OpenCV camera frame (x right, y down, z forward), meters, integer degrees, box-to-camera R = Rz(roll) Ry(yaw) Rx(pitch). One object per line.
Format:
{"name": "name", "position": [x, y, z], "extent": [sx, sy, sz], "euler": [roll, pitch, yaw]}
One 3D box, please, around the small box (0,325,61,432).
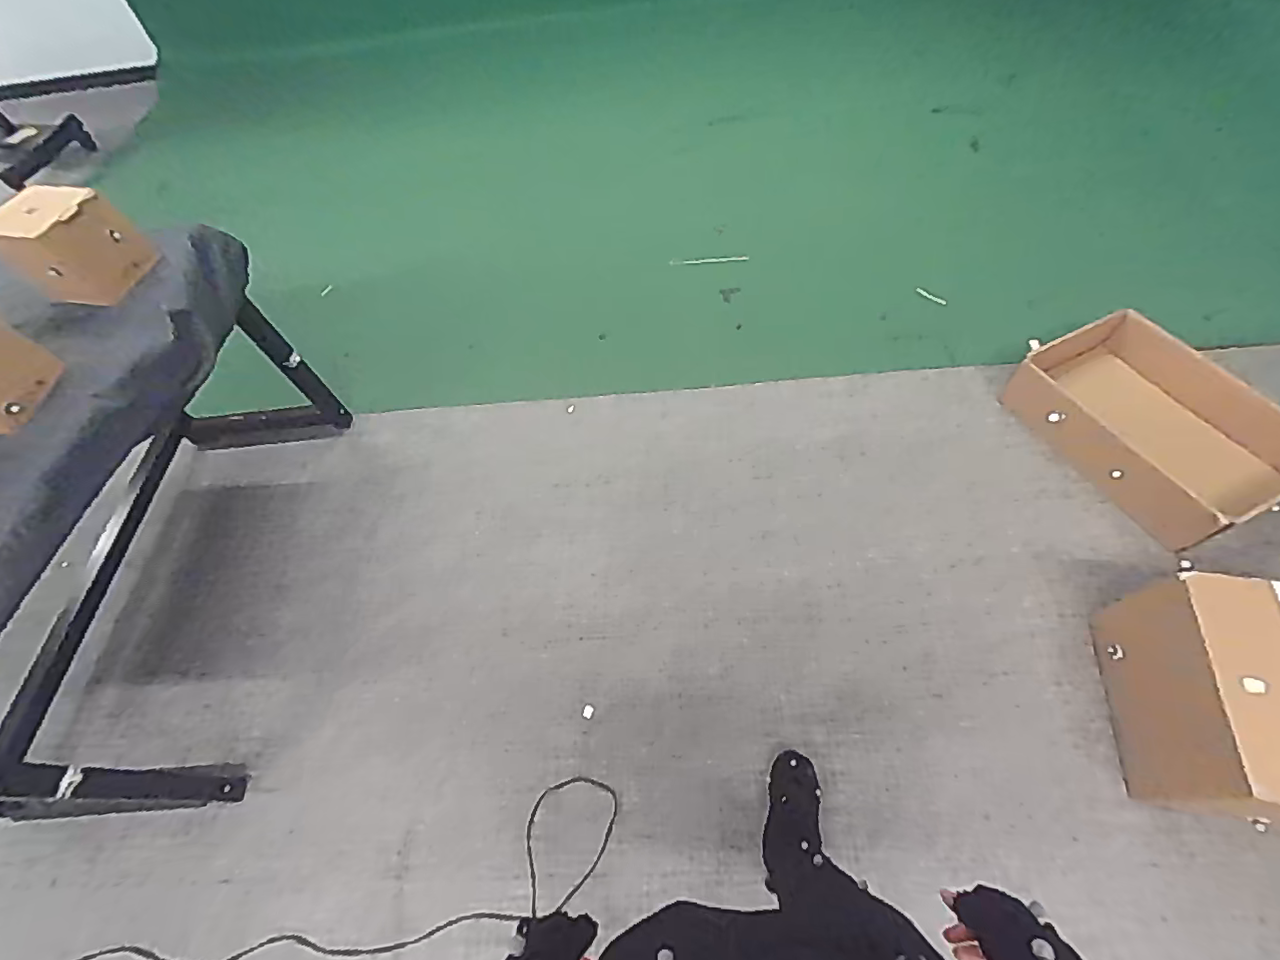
{"name": "small box", "position": [-1.220, -0.193, 0.961], "extent": [0.179, 0.176, 0.168], "euler": [-3, 58, 5]}

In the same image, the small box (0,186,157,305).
{"name": "small box", "position": [-1.194, -0.490, 1.140], "extent": [0.179, 0.176, 0.168], "euler": [7, 59, 12]}
